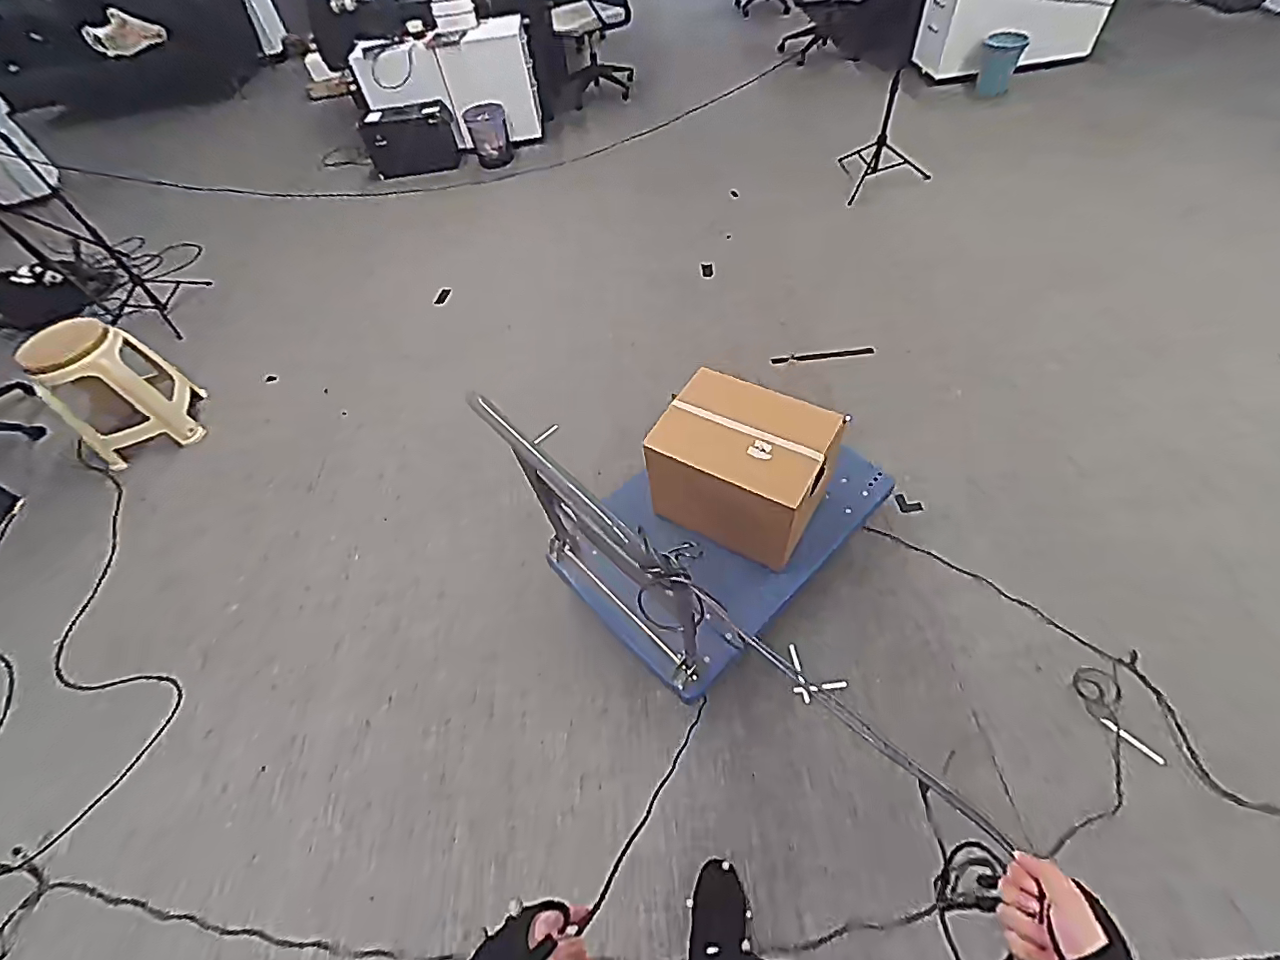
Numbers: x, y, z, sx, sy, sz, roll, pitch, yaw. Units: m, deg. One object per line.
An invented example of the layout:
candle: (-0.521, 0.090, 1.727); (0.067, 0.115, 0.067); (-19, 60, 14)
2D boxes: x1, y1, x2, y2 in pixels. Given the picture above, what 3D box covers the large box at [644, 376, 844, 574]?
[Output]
large box: (0.264, -0.016, 1.437); (0.408, 0.320, 0.320); (24, 60, 22)
